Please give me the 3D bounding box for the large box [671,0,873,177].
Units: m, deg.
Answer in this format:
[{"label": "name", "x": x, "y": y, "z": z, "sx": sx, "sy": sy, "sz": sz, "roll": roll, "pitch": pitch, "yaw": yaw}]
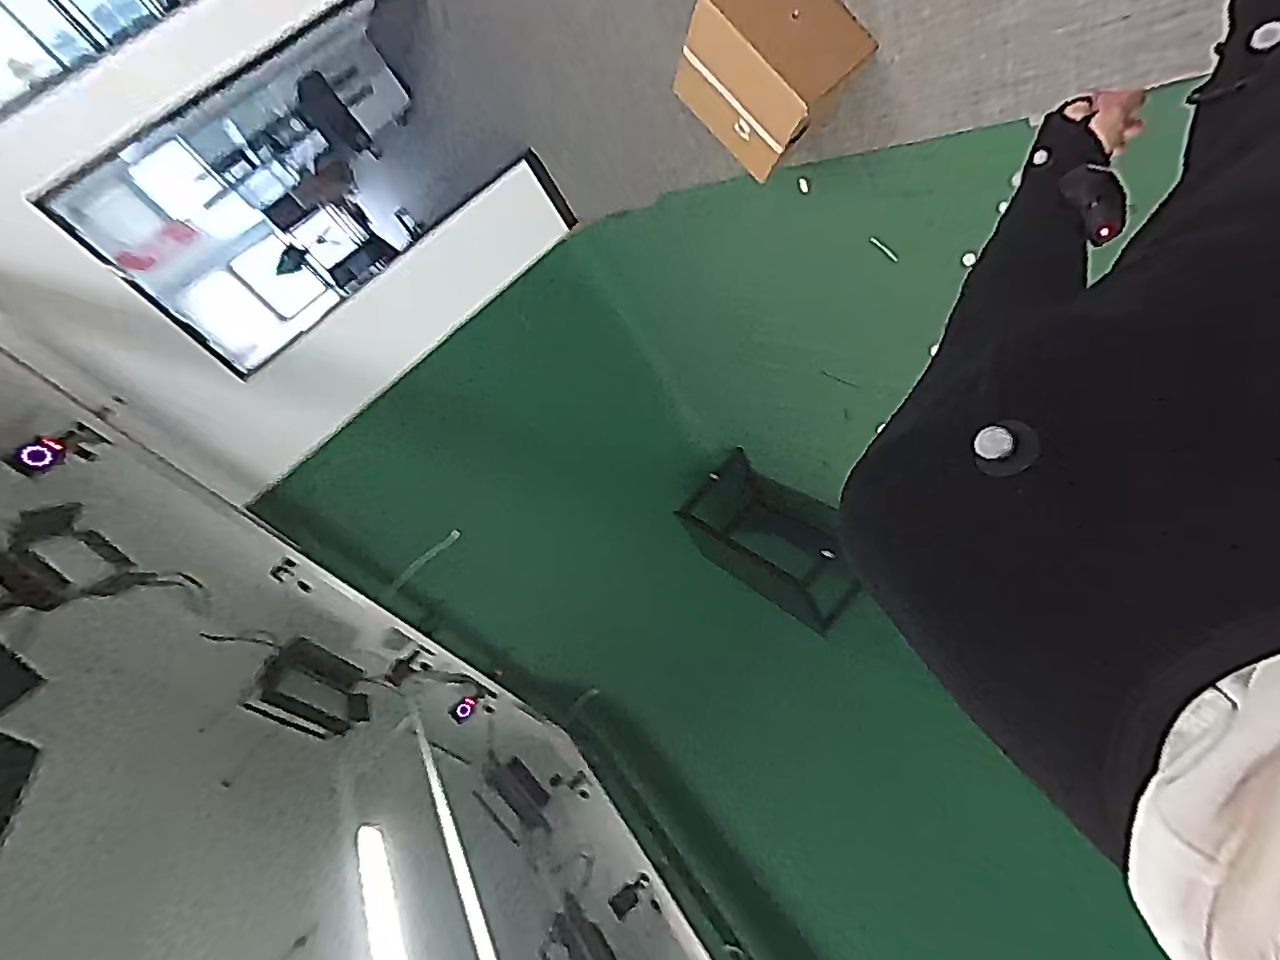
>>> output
[{"label": "large box", "x": 0.362, "y": -1.199, "z": 1.554, "sx": 0.408, "sy": 0.320, "sz": 0.320, "roll": 45, "pitch": 169, "yaw": -3}]
